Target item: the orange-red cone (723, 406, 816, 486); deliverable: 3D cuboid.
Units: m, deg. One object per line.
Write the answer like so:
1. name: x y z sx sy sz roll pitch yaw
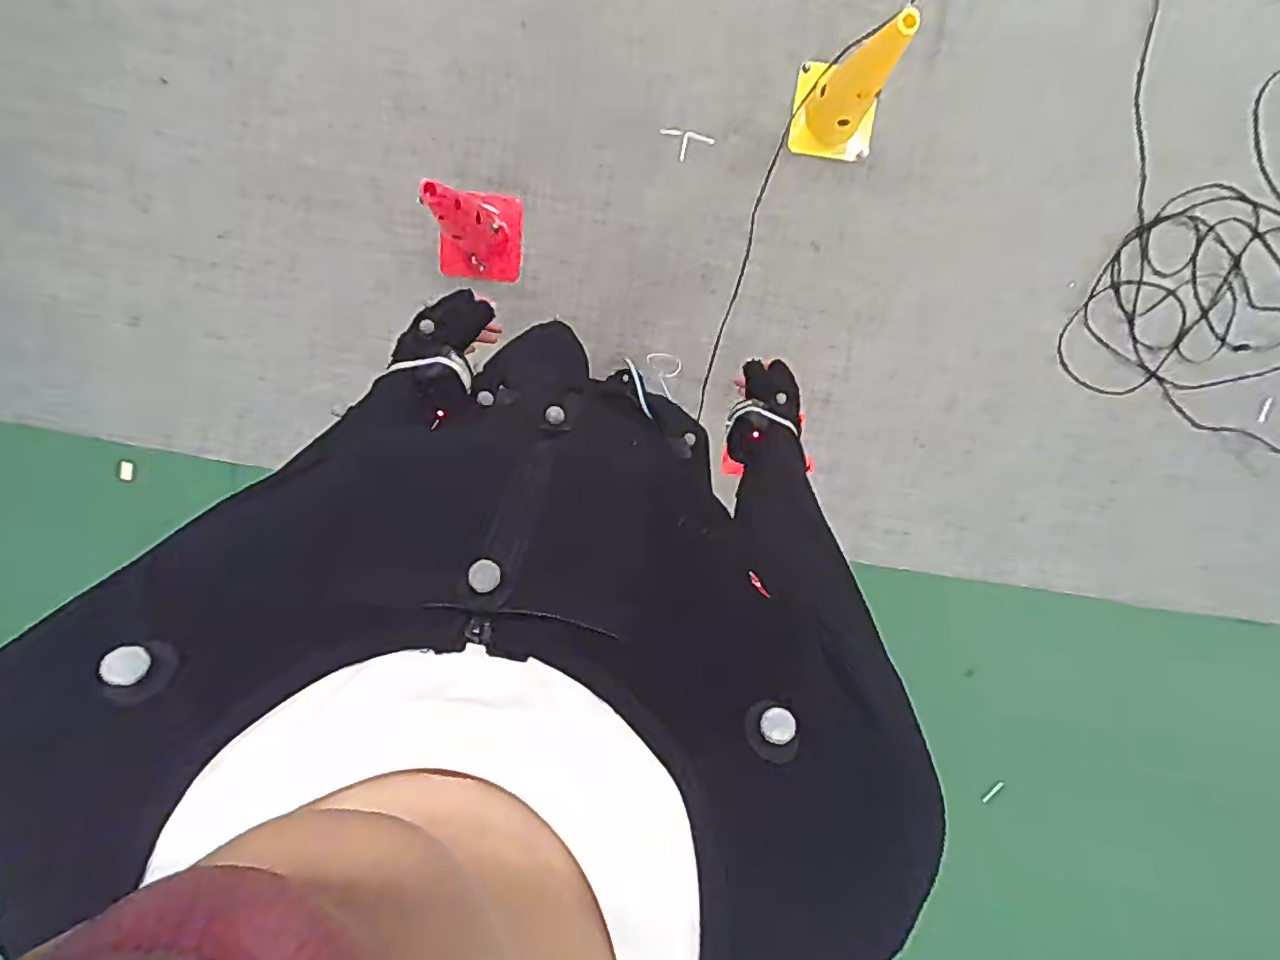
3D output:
1. orange-red cone: 0.342 -0.059 1.298 0.198 0.360 0.199 10 100 -4

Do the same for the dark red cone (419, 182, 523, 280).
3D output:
1. dark red cone: -0.384 -0.560 1.156 0.202 0.394 0.201 4 103 -2
